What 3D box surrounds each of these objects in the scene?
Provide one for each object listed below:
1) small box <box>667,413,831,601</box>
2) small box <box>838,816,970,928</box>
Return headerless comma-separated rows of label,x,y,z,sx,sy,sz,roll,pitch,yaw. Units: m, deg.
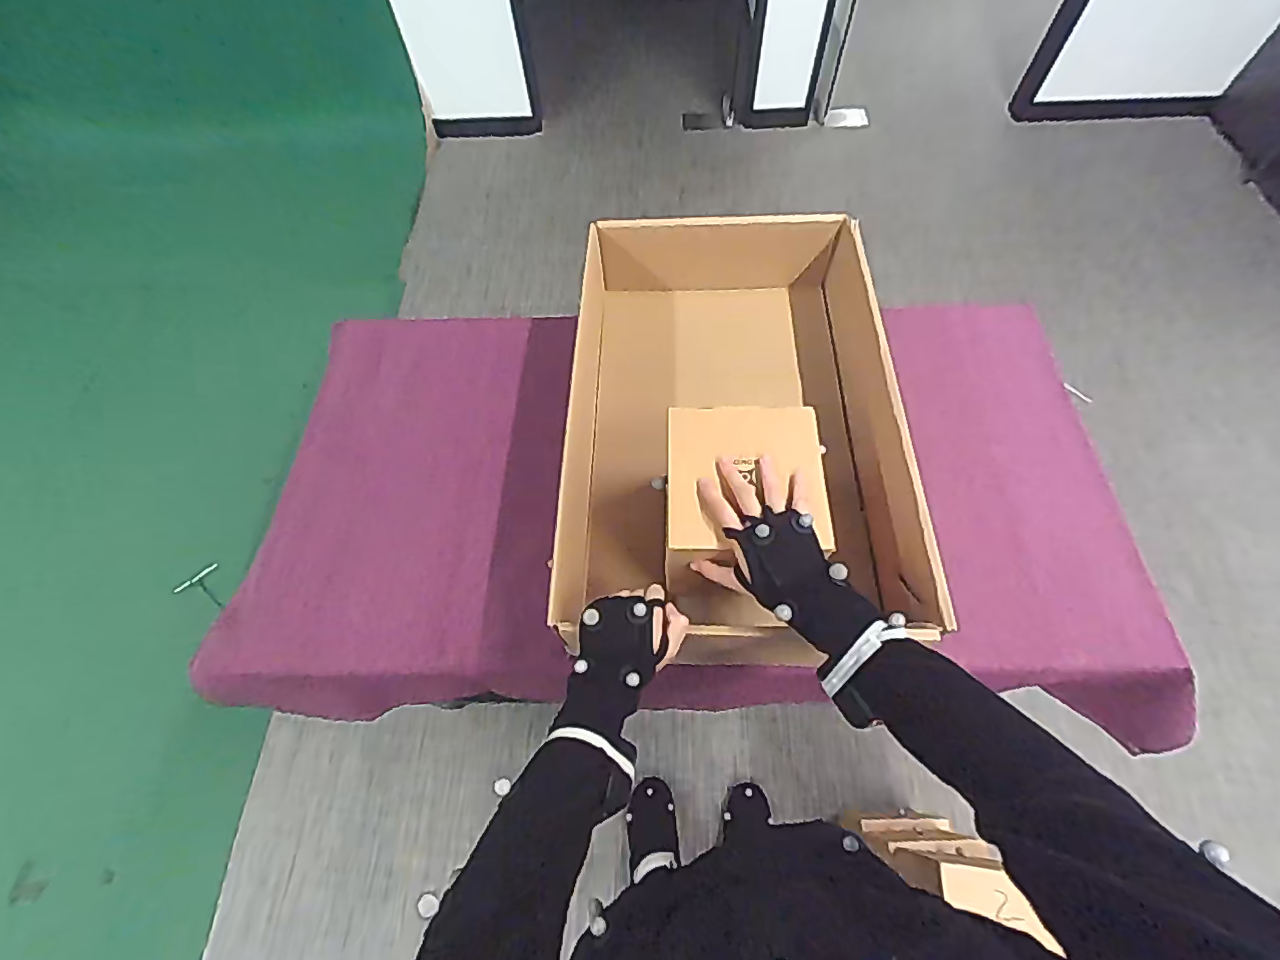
small box,0.117,0.040,0.646,0.168,0.176,0.179,-1,61,3
small box,0.529,0.793,1.109,0.179,0.176,0.168,-2,62,2
